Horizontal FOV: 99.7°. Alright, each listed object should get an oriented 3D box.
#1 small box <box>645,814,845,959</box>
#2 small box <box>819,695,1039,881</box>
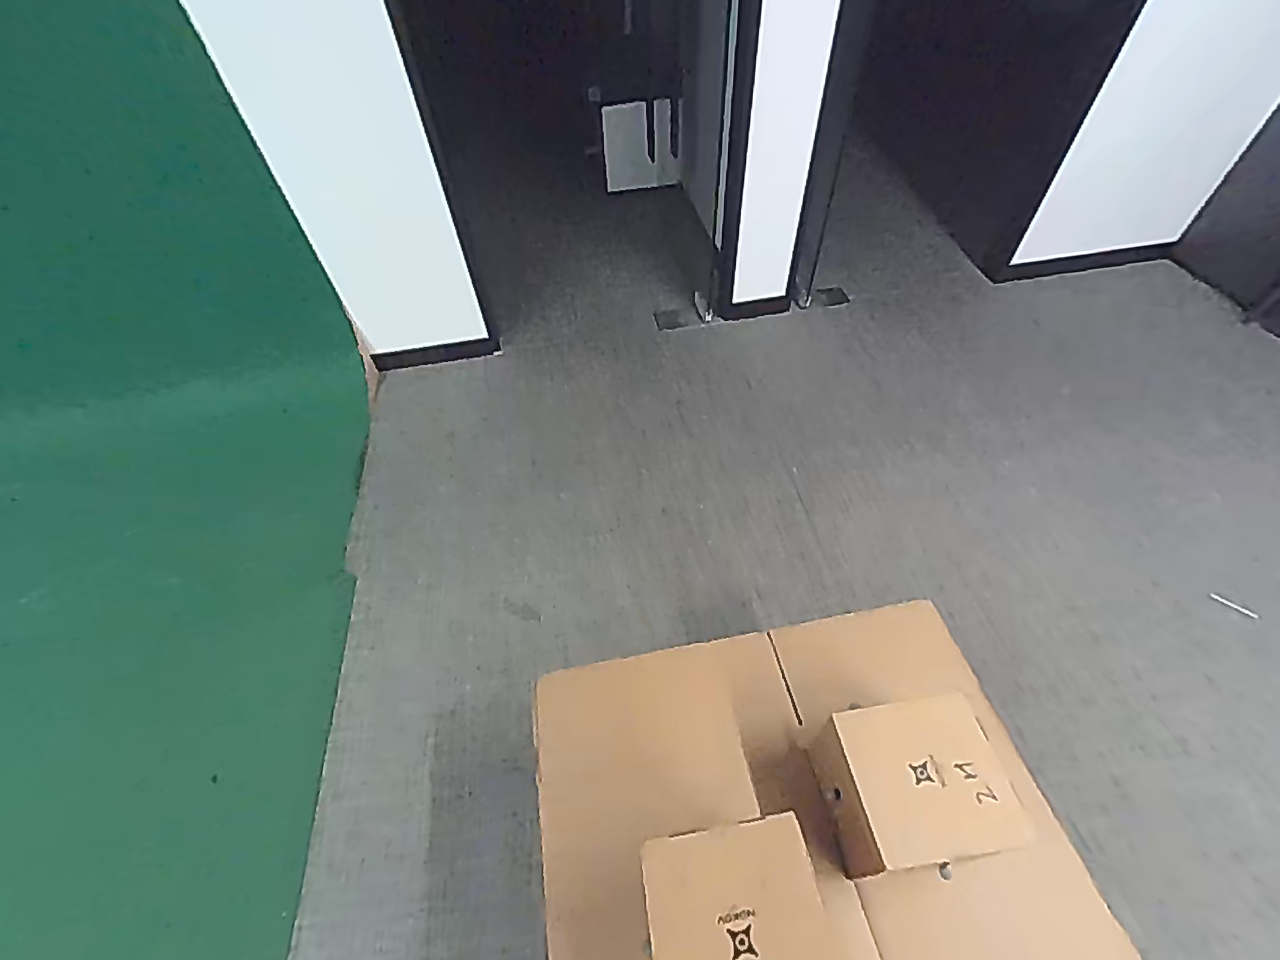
[{"bbox_3d":[0.104,0.474,0.536,0.168,0.176,0.179,-11,35,-1],"label":"small box"},{"bbox_3d":[0.340,0.394,0.686,0.179,0.176,0.168,-9,51,-1],"label":"small box"}]
